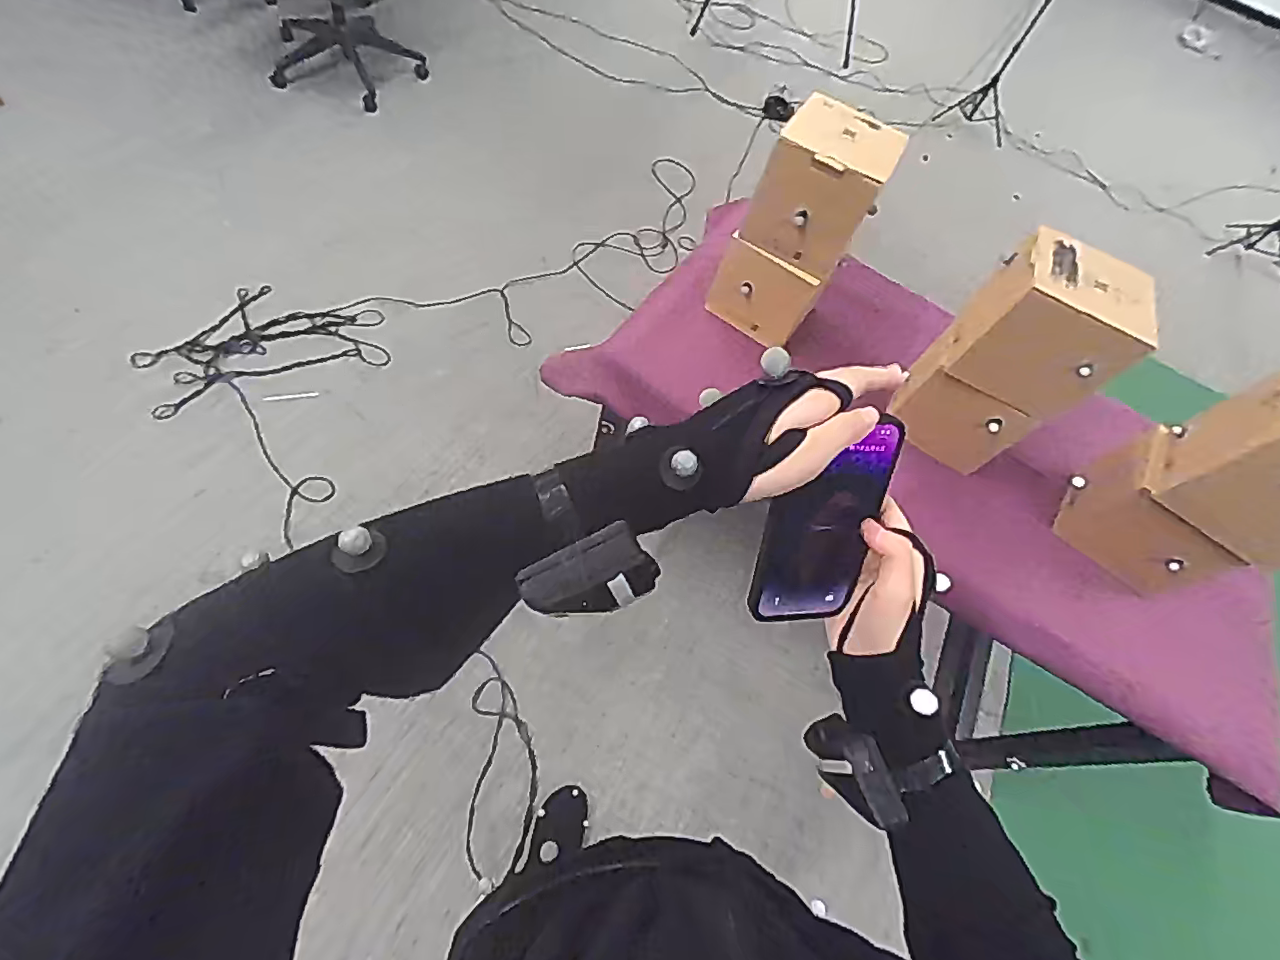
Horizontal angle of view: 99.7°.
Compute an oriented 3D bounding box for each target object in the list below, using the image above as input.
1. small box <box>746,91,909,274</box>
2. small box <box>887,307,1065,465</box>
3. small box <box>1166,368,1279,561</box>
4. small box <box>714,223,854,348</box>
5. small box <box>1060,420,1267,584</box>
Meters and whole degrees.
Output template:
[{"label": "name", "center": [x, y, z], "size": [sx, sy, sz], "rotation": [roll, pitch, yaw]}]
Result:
[{"label": "small box", "center": [0.286, -0.463, 0.856], "size": [0.168, 0.176, 0.179], "rotation": [30, 60, 5]}, {"label": "small box", "center": [0.565, -0.150, 0.923], "size": [0.179, 0.176, 0.168], "rotation": [33, 59, 9]}, {"label": "small box", "center": [0.865, -0.020, 0.719], "size": [0.179, 0.176, 0.168], "rotation": [39, 60, 11]}, {"label": "small box", "center": [0.253, -0.376, 0.992], "size": [0.168, 0.176, 0.179], "rotation": [34, 60, 9]}, {"label": "small box", "center": [0.838, 0.045, 0.867], "size": [0.179, 0.176, 0.168], "rotation": [39, 60, 12]}]
